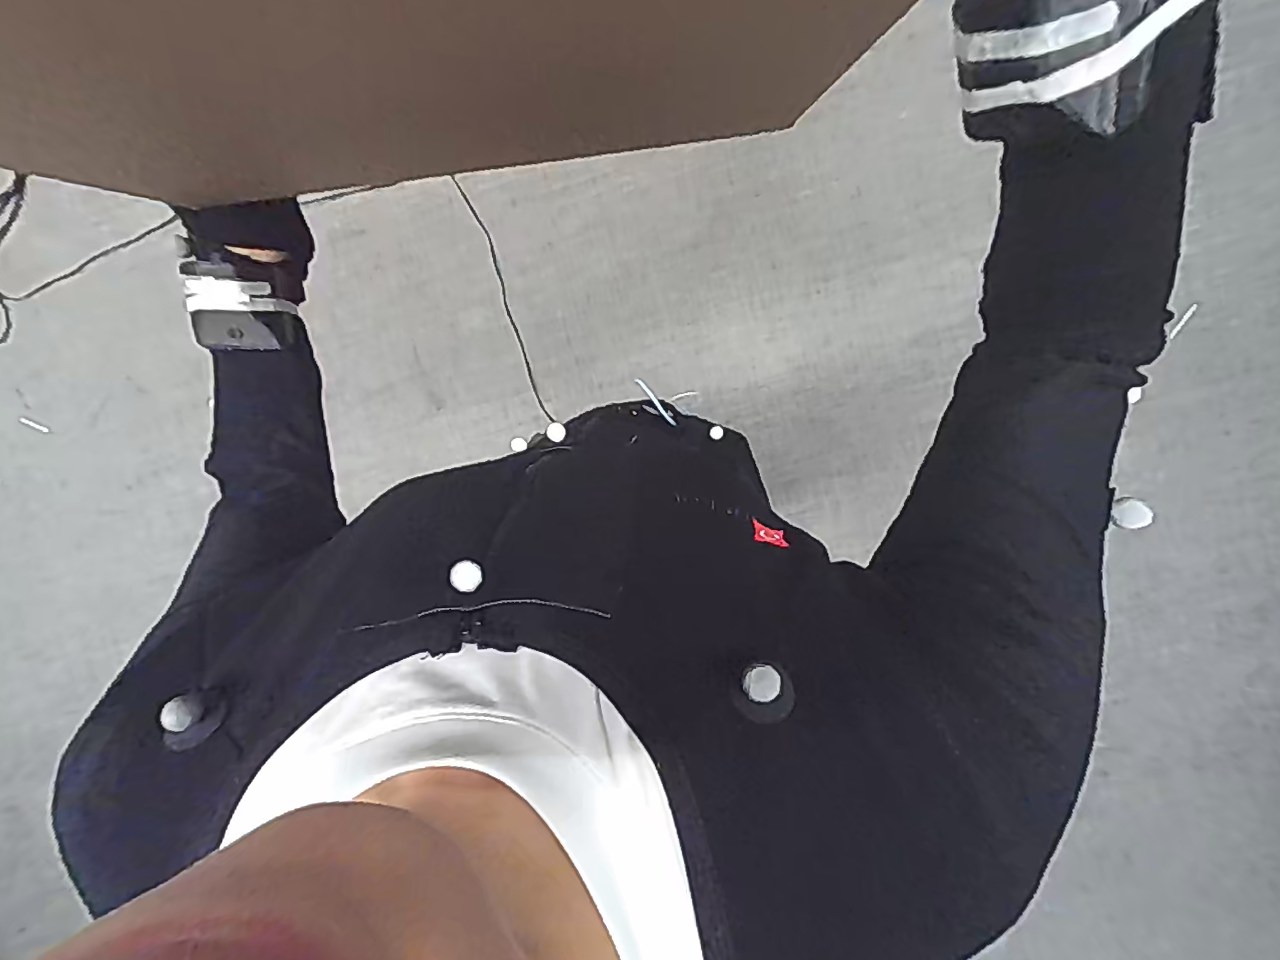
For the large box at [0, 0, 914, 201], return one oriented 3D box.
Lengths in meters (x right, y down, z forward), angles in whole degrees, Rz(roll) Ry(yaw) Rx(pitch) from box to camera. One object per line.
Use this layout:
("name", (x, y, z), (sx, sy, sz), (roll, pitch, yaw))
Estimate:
("large box", (-0.099, -0.304, 0.164), (0.408, 0.320, 0.320), (-9, 110, -1))
